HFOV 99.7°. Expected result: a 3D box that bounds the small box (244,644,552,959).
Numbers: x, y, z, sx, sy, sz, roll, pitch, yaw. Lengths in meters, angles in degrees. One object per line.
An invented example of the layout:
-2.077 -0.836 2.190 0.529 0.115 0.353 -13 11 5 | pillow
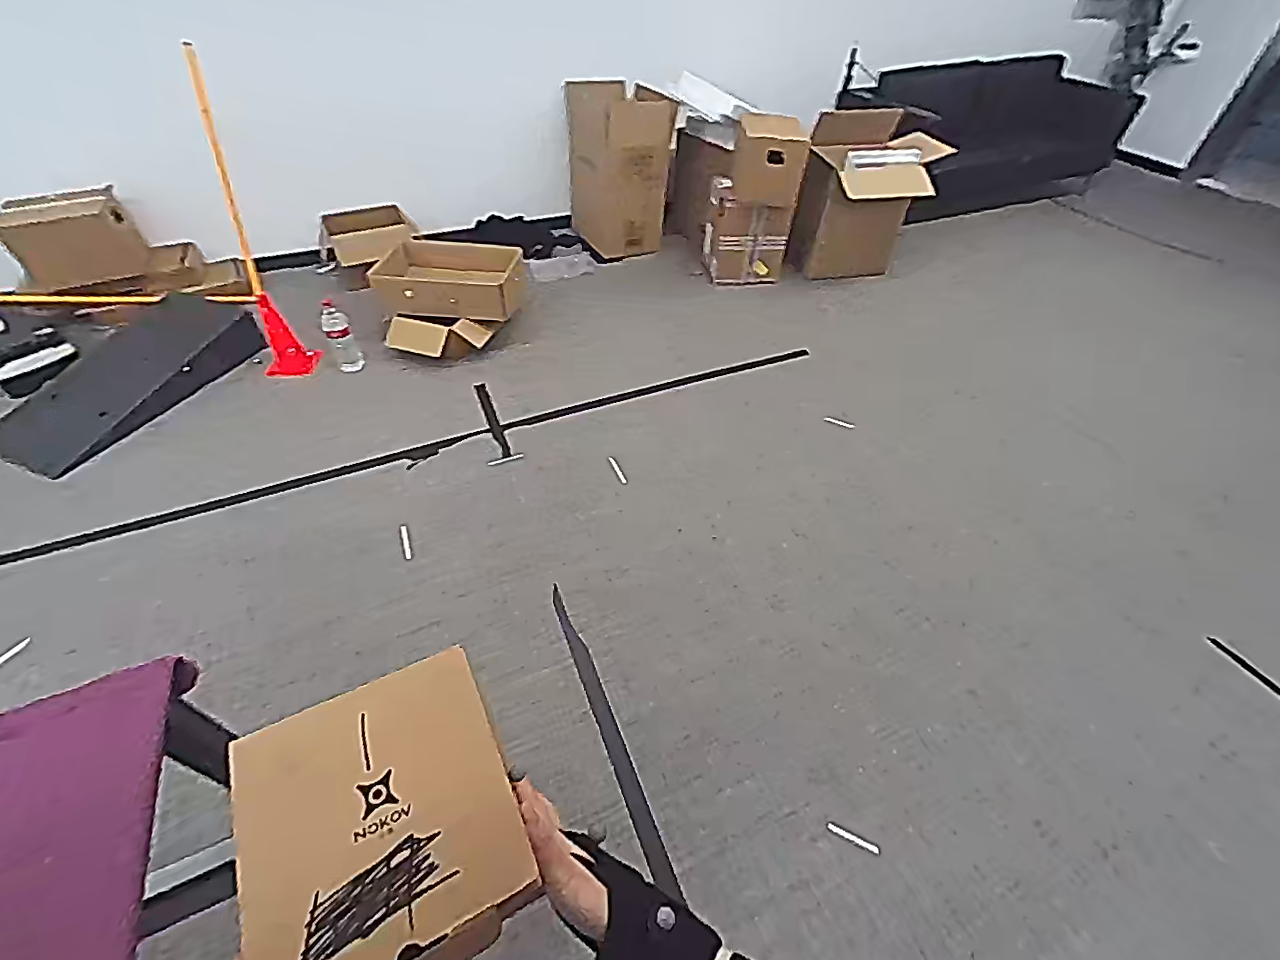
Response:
-0.176 0.267 0.427 0.168 0.176 0.179 -20 55 -20 | small box
